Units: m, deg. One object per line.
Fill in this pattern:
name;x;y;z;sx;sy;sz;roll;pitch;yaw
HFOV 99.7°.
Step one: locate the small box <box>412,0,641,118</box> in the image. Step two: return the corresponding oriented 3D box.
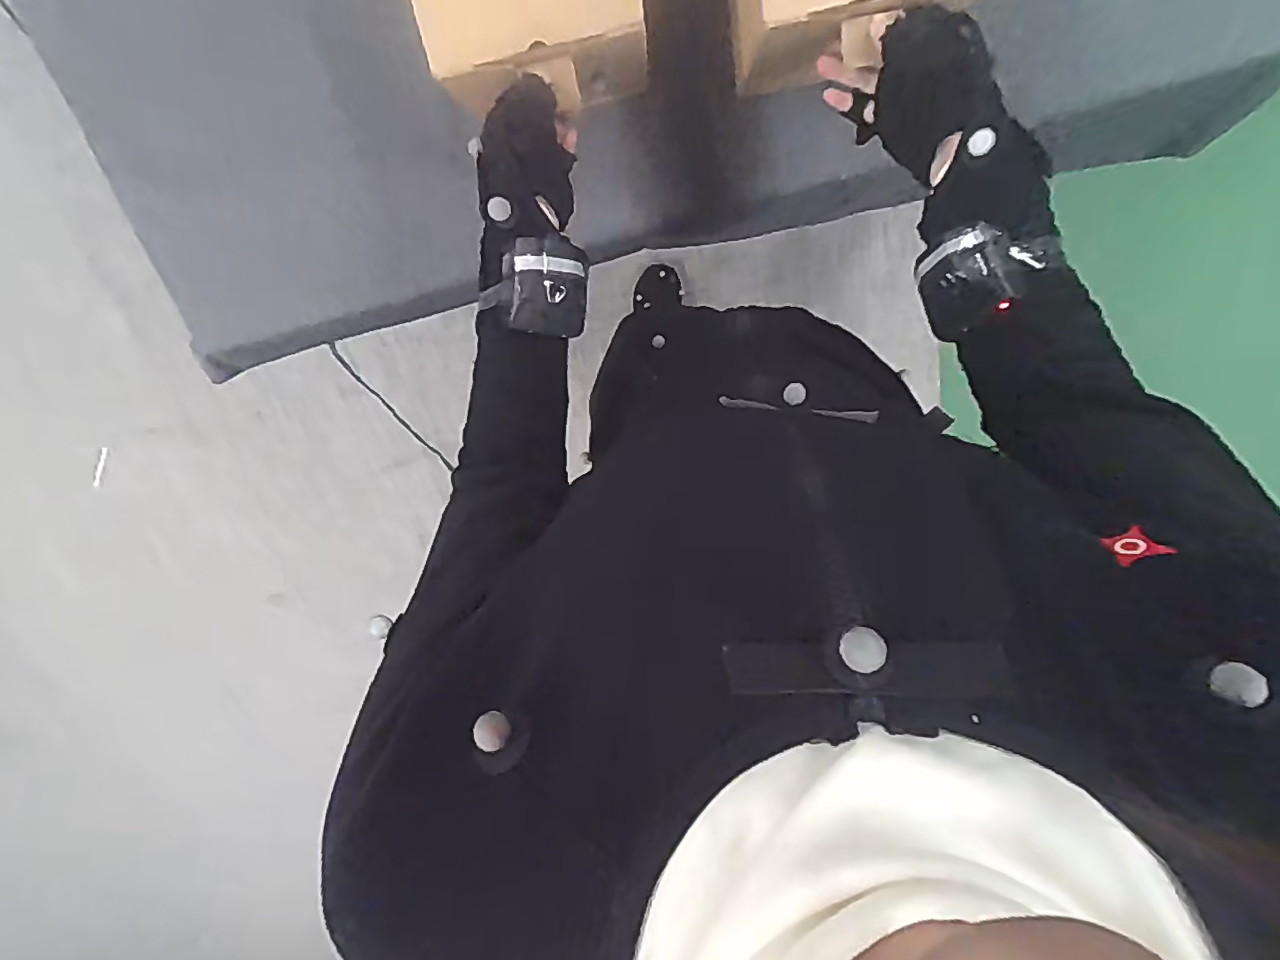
small box;-0.094;-0.428;0.447;0.168;0.176;0.179;-12;110;4
